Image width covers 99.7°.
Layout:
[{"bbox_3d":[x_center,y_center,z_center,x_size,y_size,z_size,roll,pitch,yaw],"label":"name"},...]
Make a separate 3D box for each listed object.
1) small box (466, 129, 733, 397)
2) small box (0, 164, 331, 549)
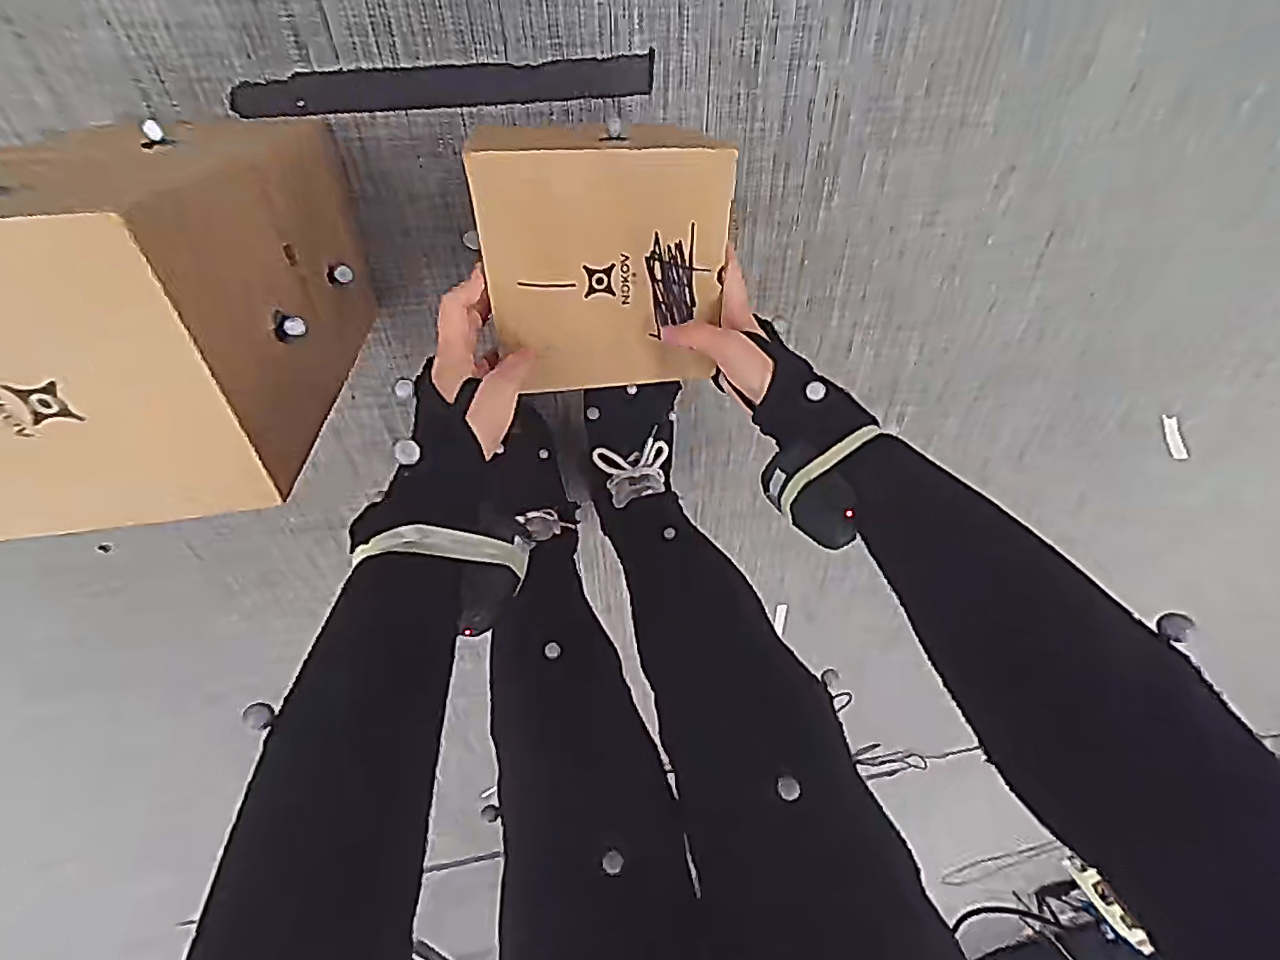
[{"bbox_3d":[-0.041,-0.188,0.451,0.179,0.176,0.168,-7,128,-9],"label":"small box"},{"bbox_3d":[-0.312,-0.083,0.326,0.179,0.176,0.168,-7,129,-8],"label":"small box"}]
